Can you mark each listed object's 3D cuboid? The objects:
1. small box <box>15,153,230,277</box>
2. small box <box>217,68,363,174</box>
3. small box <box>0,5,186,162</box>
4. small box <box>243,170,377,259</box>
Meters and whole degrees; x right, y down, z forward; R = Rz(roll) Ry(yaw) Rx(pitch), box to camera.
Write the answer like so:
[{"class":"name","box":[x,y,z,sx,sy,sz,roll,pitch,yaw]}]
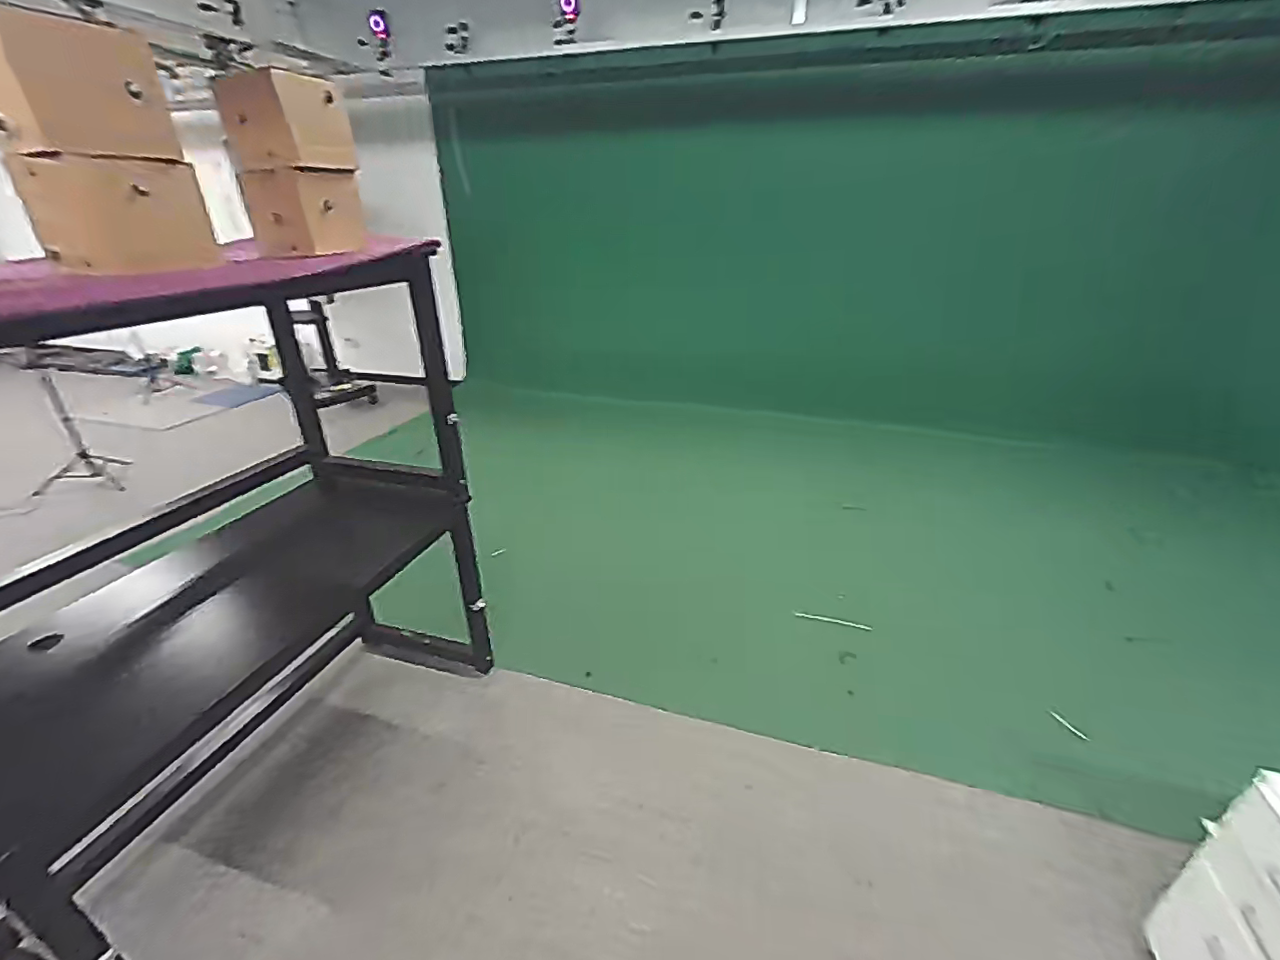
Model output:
[{"class":"small box","box":[-0.836,-0.431,0.893,0.168,0.176,0.179,9,27,17]},{"class":"small box","box":[-0.725,-0.740,1.142,0.168,0.176,0.179,6,28,17]},{"class":"small box","box":[-0.837,-0.575,0.817,0.168,0.176,0.179,13,30,26]},{"class":"small box","box":[-0.730,-0.595,1.219,0.168,0.176,0.179,6,29,17]}]
